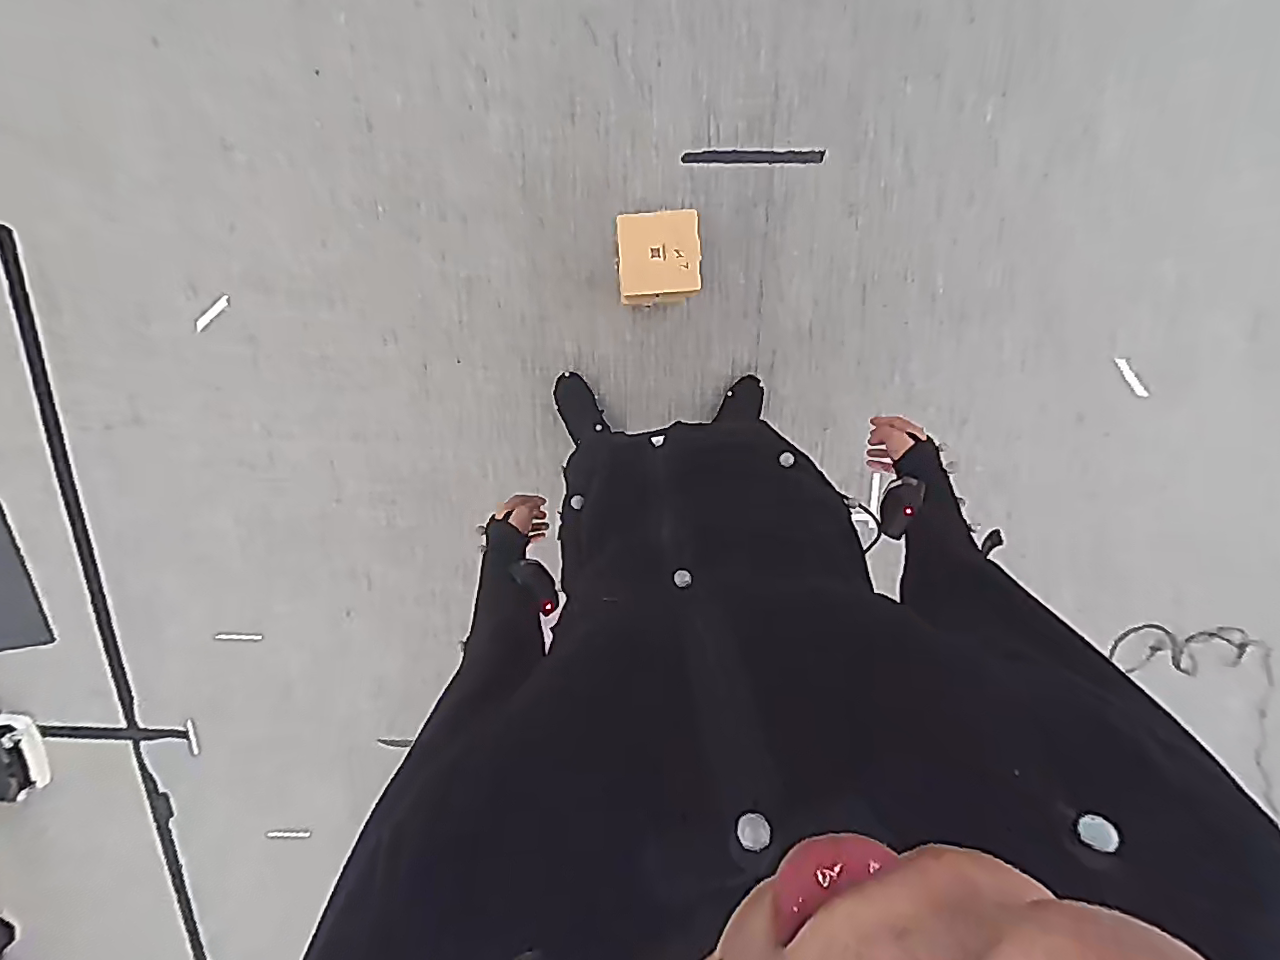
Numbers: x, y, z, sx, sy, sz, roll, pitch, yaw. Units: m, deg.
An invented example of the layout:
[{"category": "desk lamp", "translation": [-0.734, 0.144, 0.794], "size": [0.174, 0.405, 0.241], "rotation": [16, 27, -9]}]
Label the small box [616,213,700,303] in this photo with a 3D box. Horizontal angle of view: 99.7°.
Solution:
[{"category": "small box", "translation": [0.043, -0.502, 1.242], "size": [0.179, 0.176, 0.168], "rotation": [-3, 105, 2]}]

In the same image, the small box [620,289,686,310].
[{"category": "small box", "translation": [0.031, -0.541, 1.401], "size": [0.168, 0.176, 0.179], "rotation": [-2, 105, 1]}]
